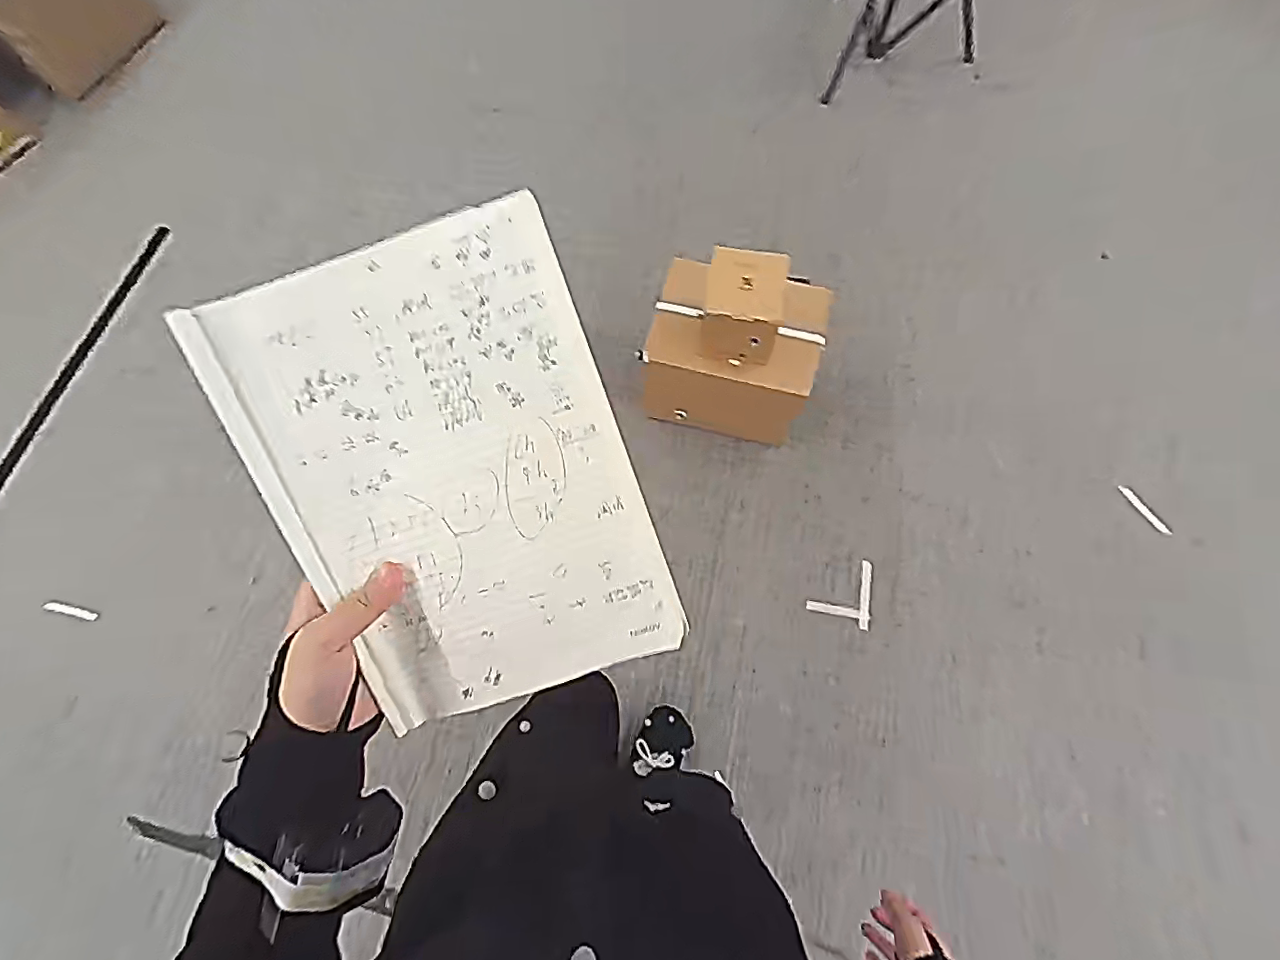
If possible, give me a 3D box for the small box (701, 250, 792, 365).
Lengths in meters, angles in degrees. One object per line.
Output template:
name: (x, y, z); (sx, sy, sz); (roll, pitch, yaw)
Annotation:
small box: (0.233, -0.379, 1.210); (0.168, 0.176, 0.179); (9, 71, 4)
